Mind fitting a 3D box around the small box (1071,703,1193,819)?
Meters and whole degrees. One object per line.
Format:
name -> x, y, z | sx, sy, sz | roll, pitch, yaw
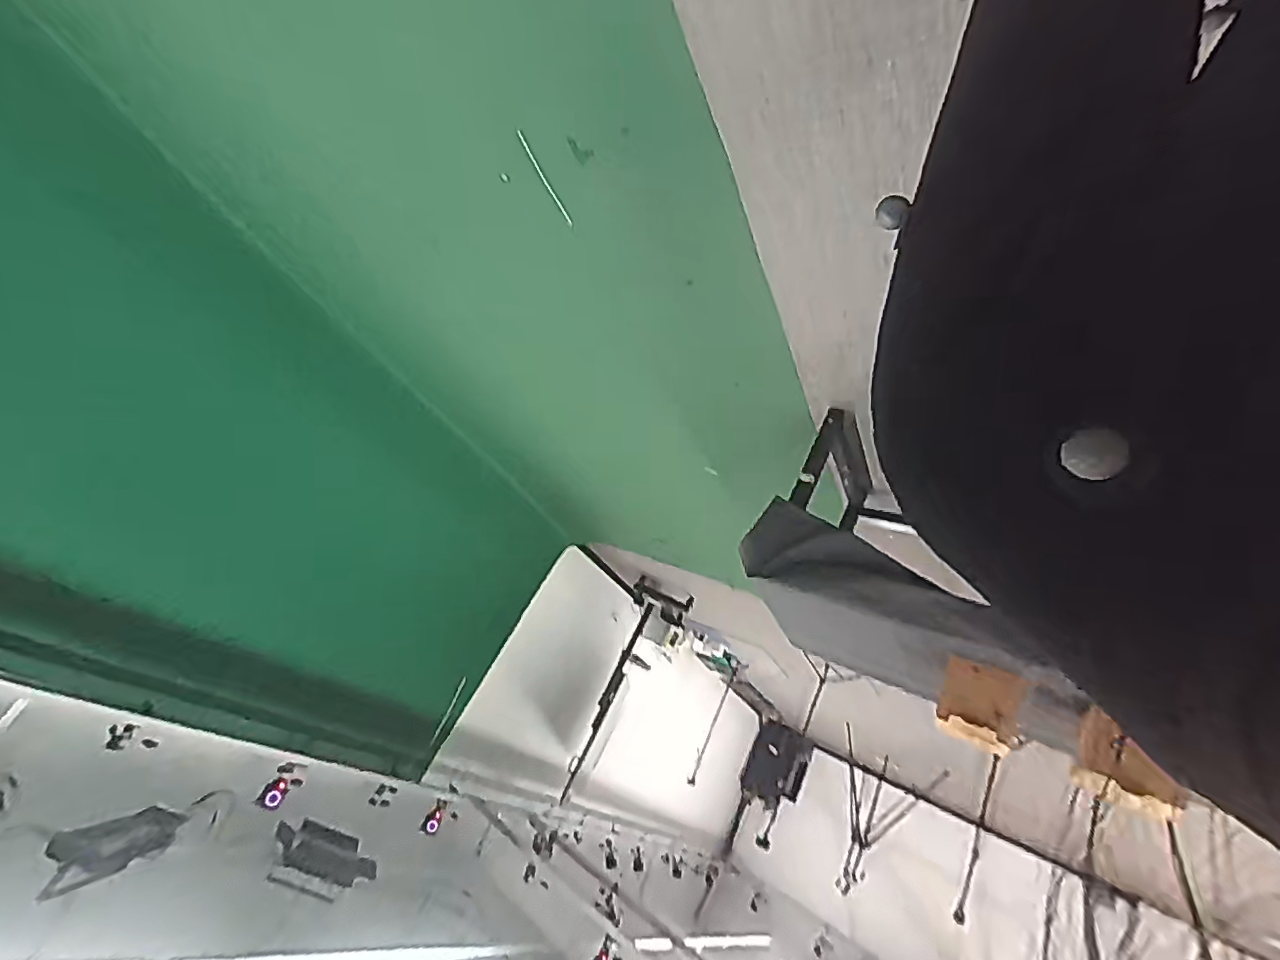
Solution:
small box -> 1.104, 0.627, 1.218 | 0.168, 0.176, 0.179 | 16, 156, 36
